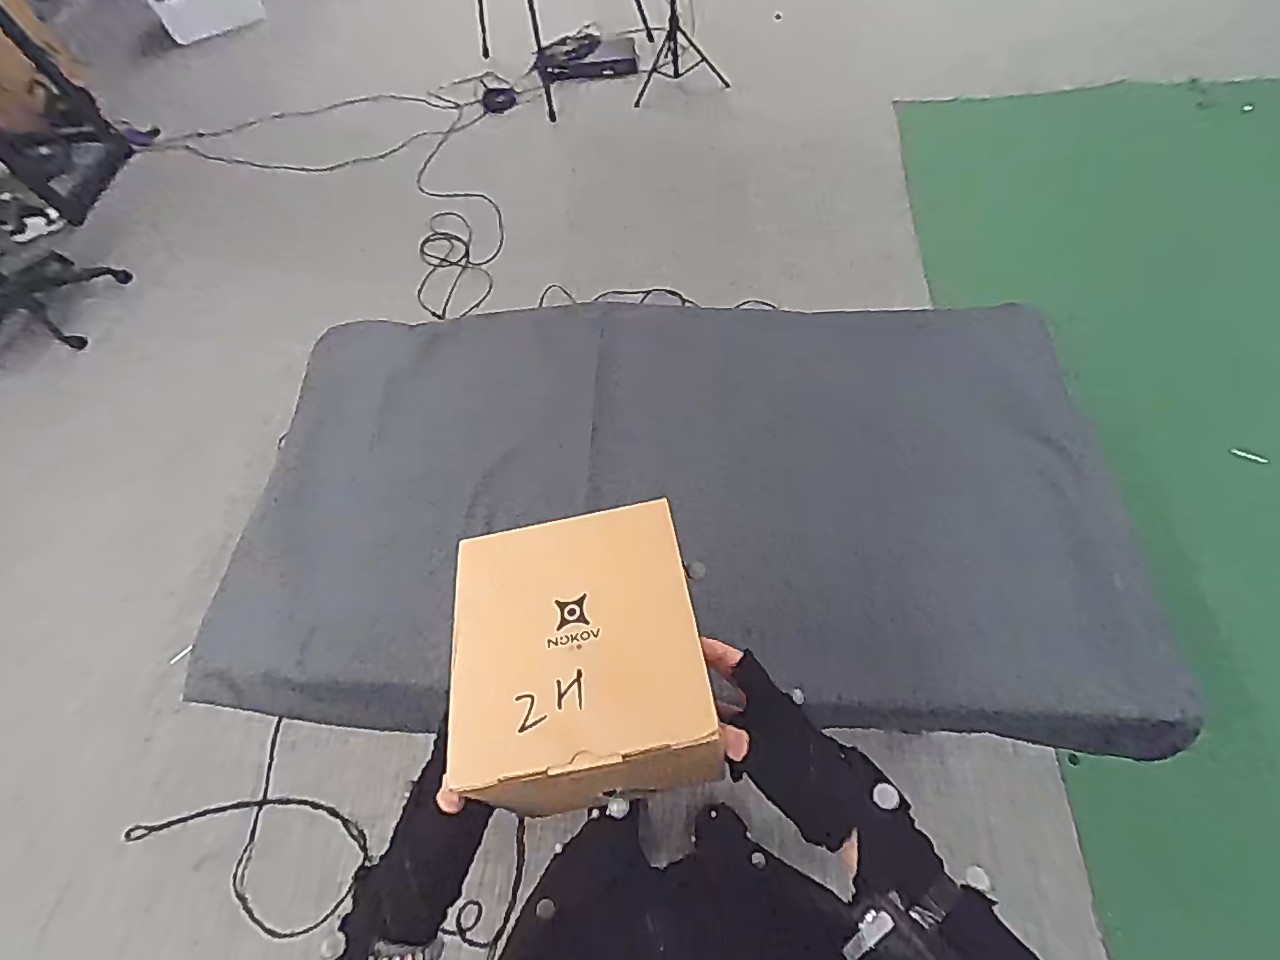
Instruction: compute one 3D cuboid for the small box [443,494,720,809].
[{"bbox_3d":[-0.036,0.140,0.428,0.168,0.176,0.179,-12,53,1],"label":"small box"}]
